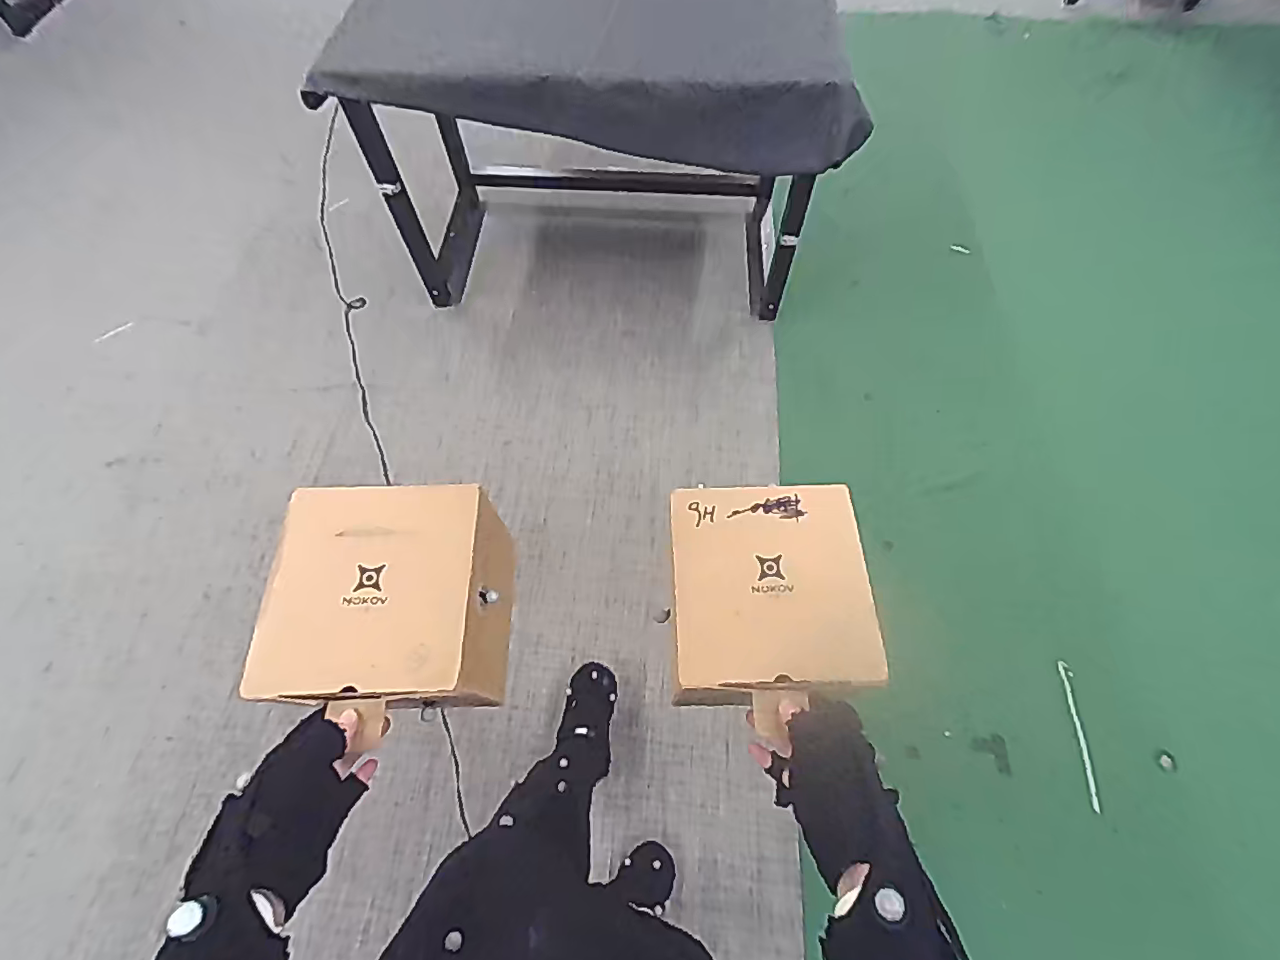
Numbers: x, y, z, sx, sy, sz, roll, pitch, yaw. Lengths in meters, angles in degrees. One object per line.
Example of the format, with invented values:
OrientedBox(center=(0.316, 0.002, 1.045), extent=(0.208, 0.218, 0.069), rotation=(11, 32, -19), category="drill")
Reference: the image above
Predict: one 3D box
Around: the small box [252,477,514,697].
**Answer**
OrientedBox(center=(-0.221, 0.112, 0.523), extent=(0.168, 0.176, 0.179), rotation=(-2, 64, -2), category="small box")
